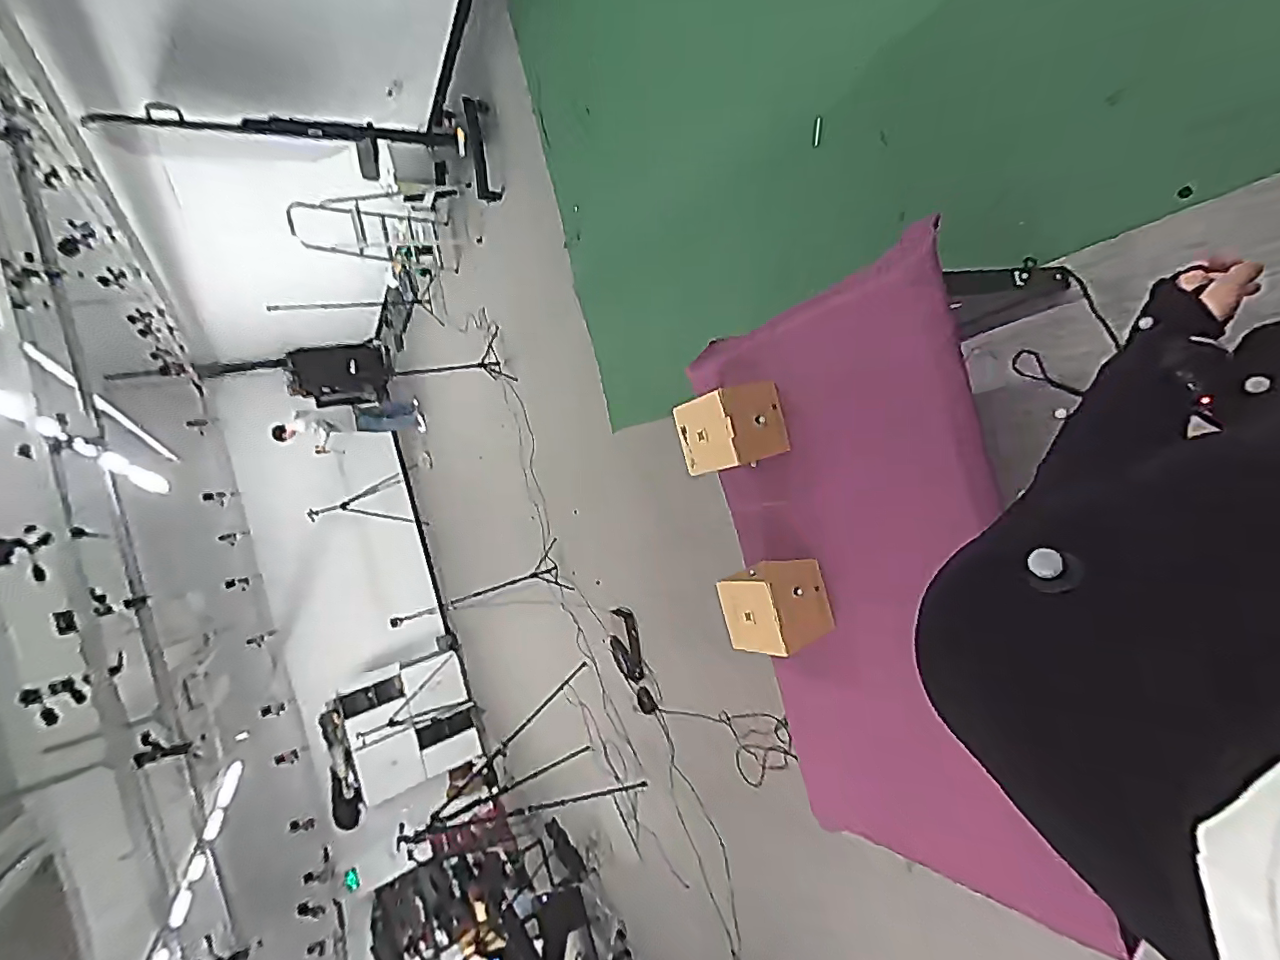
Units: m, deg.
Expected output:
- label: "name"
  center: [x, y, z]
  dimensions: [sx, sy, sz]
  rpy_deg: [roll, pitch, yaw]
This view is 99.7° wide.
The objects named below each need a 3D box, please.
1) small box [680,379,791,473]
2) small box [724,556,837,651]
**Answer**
- label: "small box"
  center: [0.224, -0.125, 1.242]
  dimensions: [0.179, 0.176, 0.168]
  rpy_deg: [-14, 91, 58]
- label: "small box"
  center: [0.330, 0.278, 1.252]
  dimensions: [0.179, 0.176, 0.168]
  rpy_deg: [-17, 88, 59]
